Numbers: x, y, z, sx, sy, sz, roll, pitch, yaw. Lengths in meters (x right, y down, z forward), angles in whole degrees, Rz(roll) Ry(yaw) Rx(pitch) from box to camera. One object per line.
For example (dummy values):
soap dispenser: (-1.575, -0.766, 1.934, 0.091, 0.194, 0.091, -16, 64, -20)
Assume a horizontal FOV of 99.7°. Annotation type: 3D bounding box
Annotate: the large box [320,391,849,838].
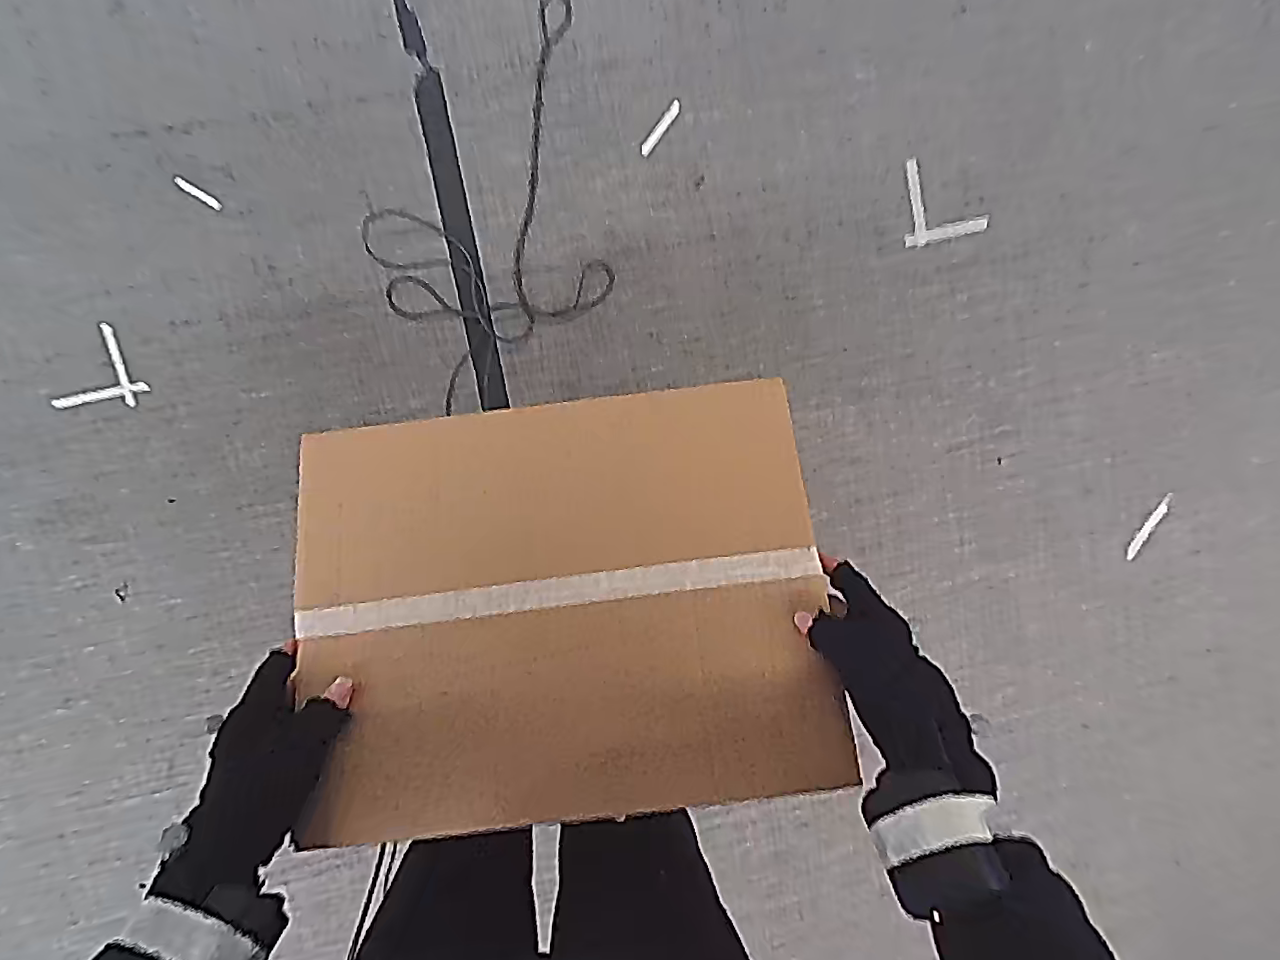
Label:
large box: (-0.055, 0.130, 0.580, 0.408, 0.320, 0.320, -7, 76, 0)
